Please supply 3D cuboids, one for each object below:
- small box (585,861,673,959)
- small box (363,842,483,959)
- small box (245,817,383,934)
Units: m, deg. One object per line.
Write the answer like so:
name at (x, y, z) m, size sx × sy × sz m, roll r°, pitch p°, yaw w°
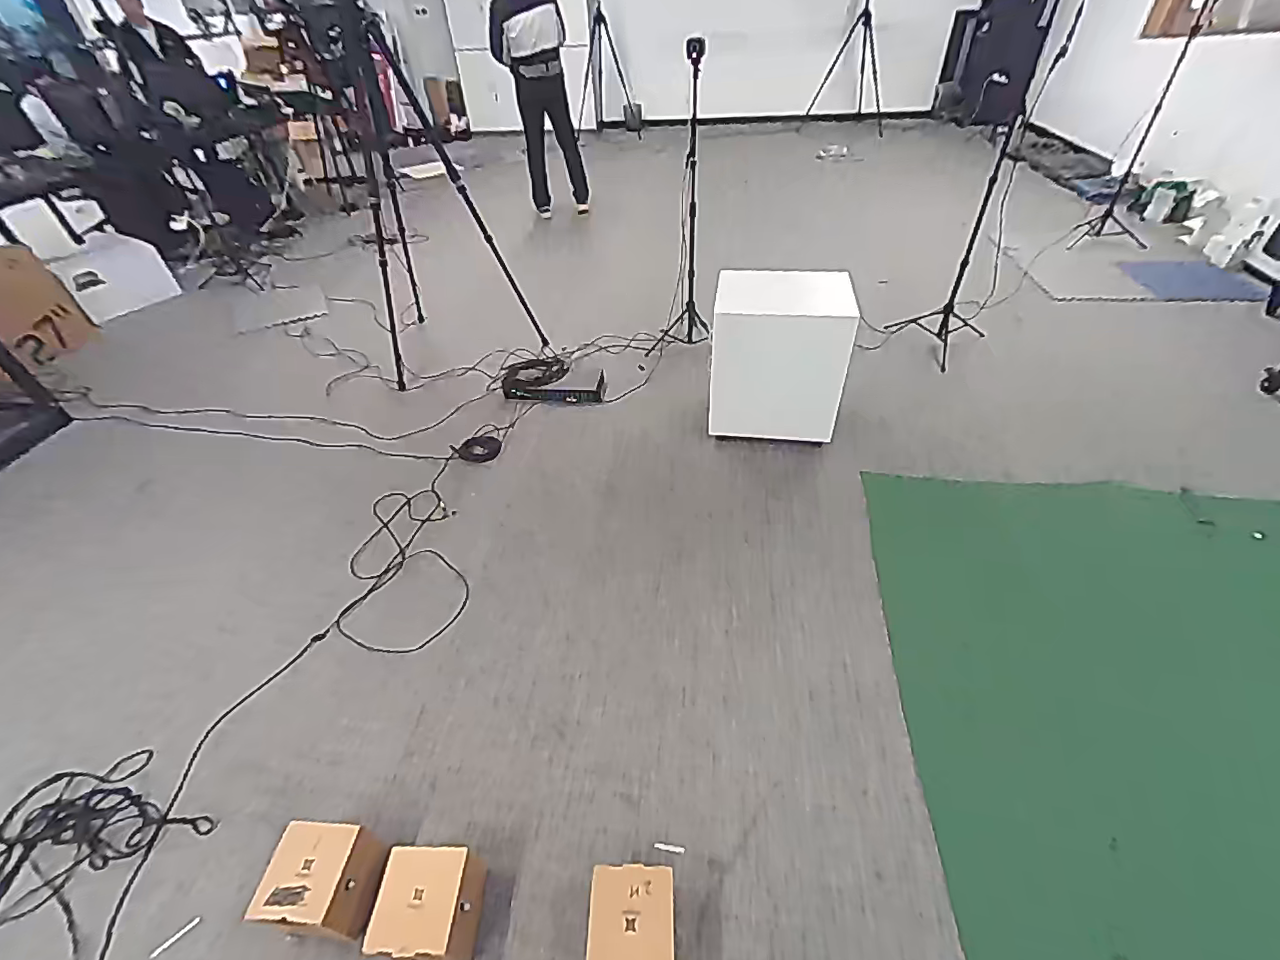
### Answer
small box at (-0.016, 0.897, 1.095) m, size 0.168 × 0.176 × 0.179 m, roll 0°, pitch 44°, yaw 2°
small box at (-0.441, 0.885, 1.135) m, size 0.168 × 0.176 × 0.179 m, roll -1°, pitch 44°, yaw 3°
small box at (-0.691, 0.861, 1.175) m, size 0.168 × 0.176 × 0.179 m, roll 1°, pitch 42°, yaw 5°
